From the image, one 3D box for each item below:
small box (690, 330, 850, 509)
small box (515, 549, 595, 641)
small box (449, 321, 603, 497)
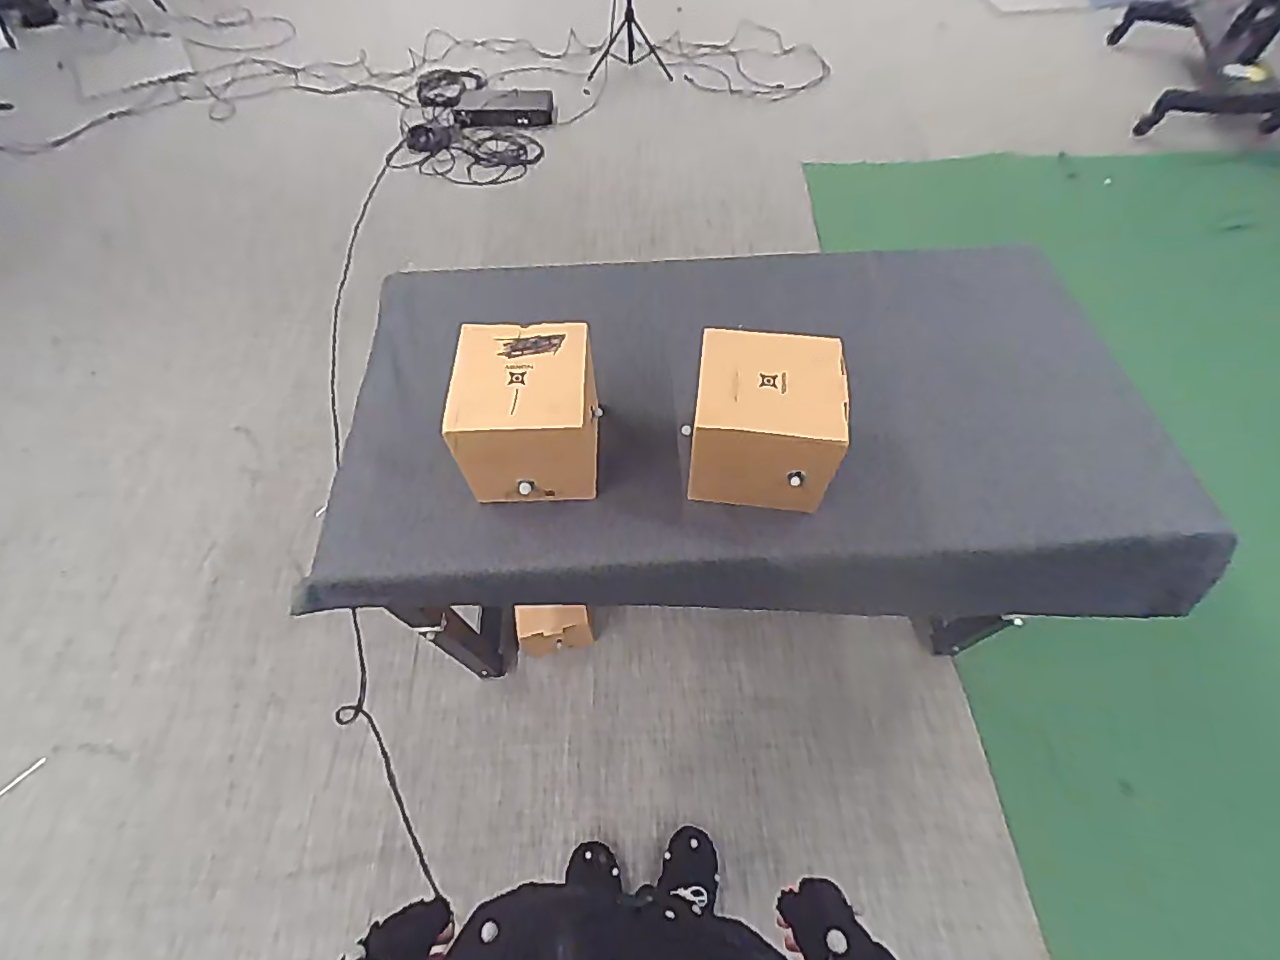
[{"bbox_3d":[0.164,-0.075,0.723,0.179,0.176,0.168,6,59,6],"label":"small box"},{"bbox_3d":[-0.211,0.295,1.358,0.168,0.176,0.179,-10,61,-5],"label":"small box"},{"bbox_3d":[-0.140,-0.093,0.735,0.168,0.176,0.179,-1,59,1],"label":"small box"}]
